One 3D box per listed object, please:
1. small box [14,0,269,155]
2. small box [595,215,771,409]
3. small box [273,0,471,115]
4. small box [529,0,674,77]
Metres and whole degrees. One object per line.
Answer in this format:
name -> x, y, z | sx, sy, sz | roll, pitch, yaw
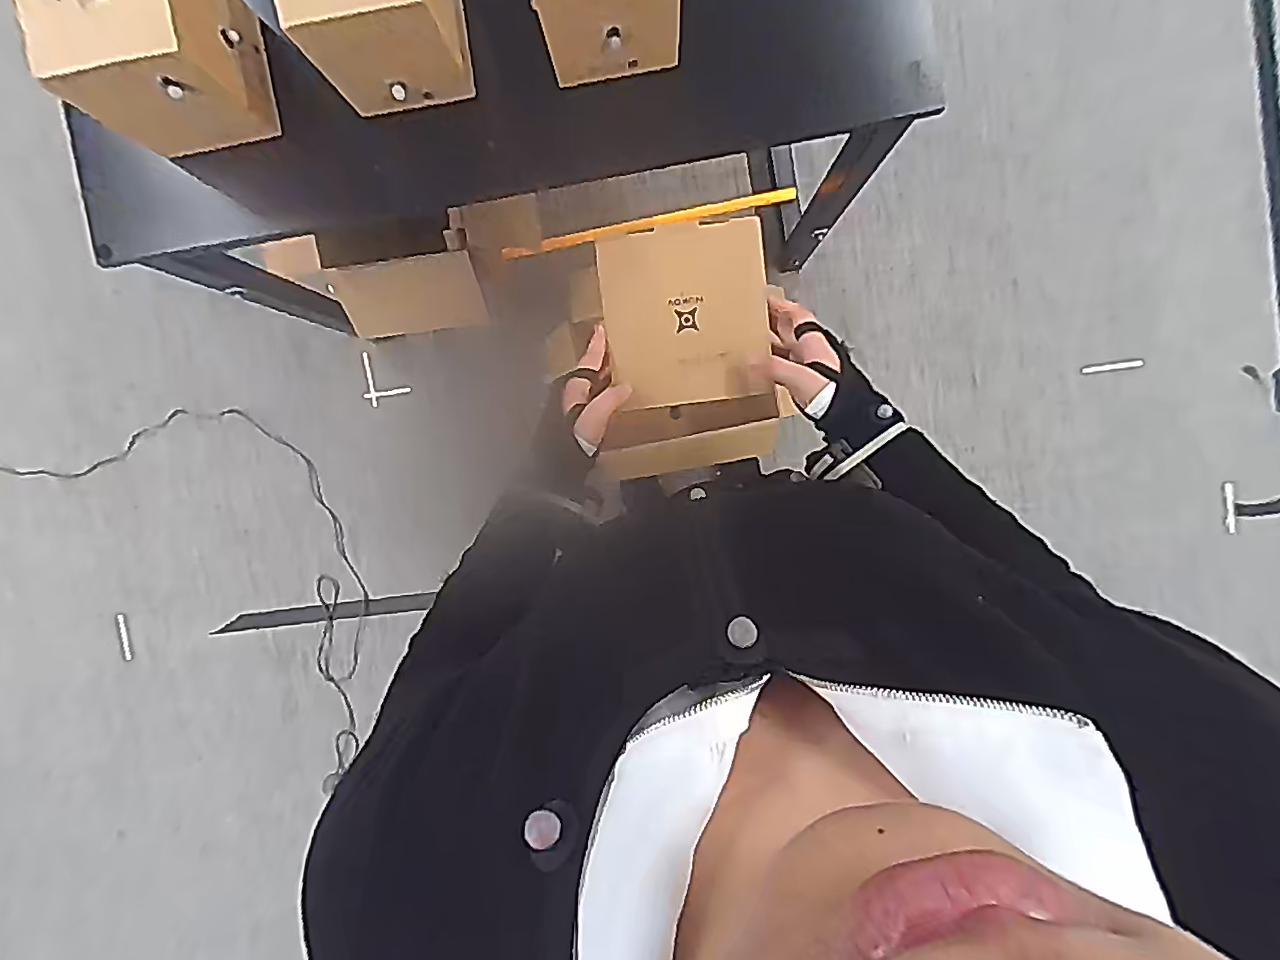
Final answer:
small box -> -0.604, -0.543, 0.676 | 0.179, 0.176, 0.168 | -10, 93, 3
small box -> 0.043, -0.178, 0.621 | 0.168, 0.176, 0.179 | -8, 98, 1
small box -> -0.324, -0.595, 0.663 | 0.168, 0.176, 0.179 | -8, 94, 3
small box -> -0.050, -0.627, 0.650 | 0.168, 0.176, 0.179 | -9, 94, 3
